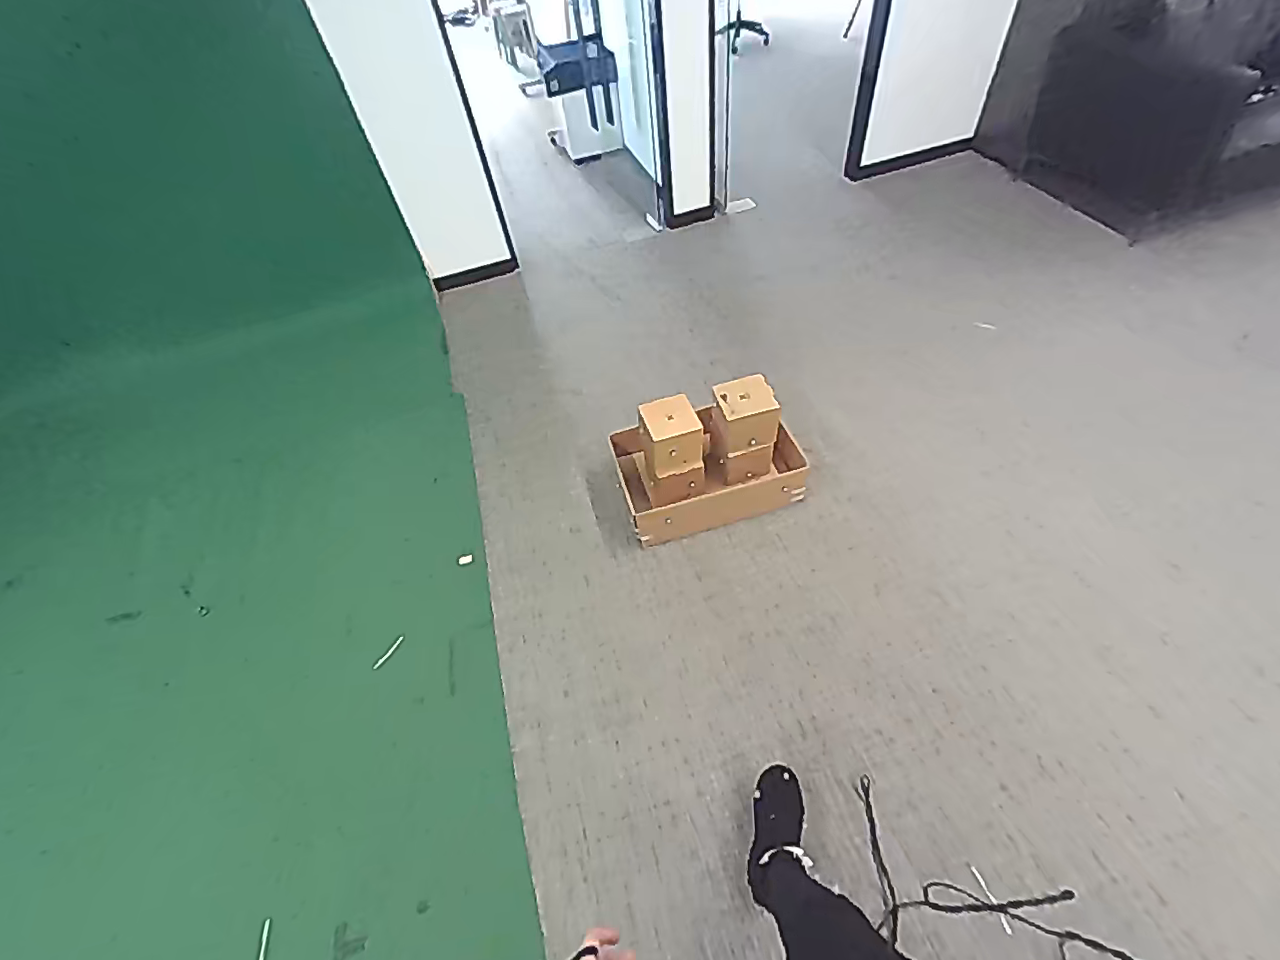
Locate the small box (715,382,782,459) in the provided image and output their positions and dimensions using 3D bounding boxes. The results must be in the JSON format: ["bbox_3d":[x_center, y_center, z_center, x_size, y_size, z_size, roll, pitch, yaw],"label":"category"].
[{"bbox_3d":[0.355,-0.195,1.800,0.179,0.176,0.168,-14,51,-3],"label":"small box"}]

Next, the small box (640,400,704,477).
[{"bbox_3d":[0.107,-0.130,1.786,0.168,0.176,0.179,-16,50,-8],"label":"small box"}]
